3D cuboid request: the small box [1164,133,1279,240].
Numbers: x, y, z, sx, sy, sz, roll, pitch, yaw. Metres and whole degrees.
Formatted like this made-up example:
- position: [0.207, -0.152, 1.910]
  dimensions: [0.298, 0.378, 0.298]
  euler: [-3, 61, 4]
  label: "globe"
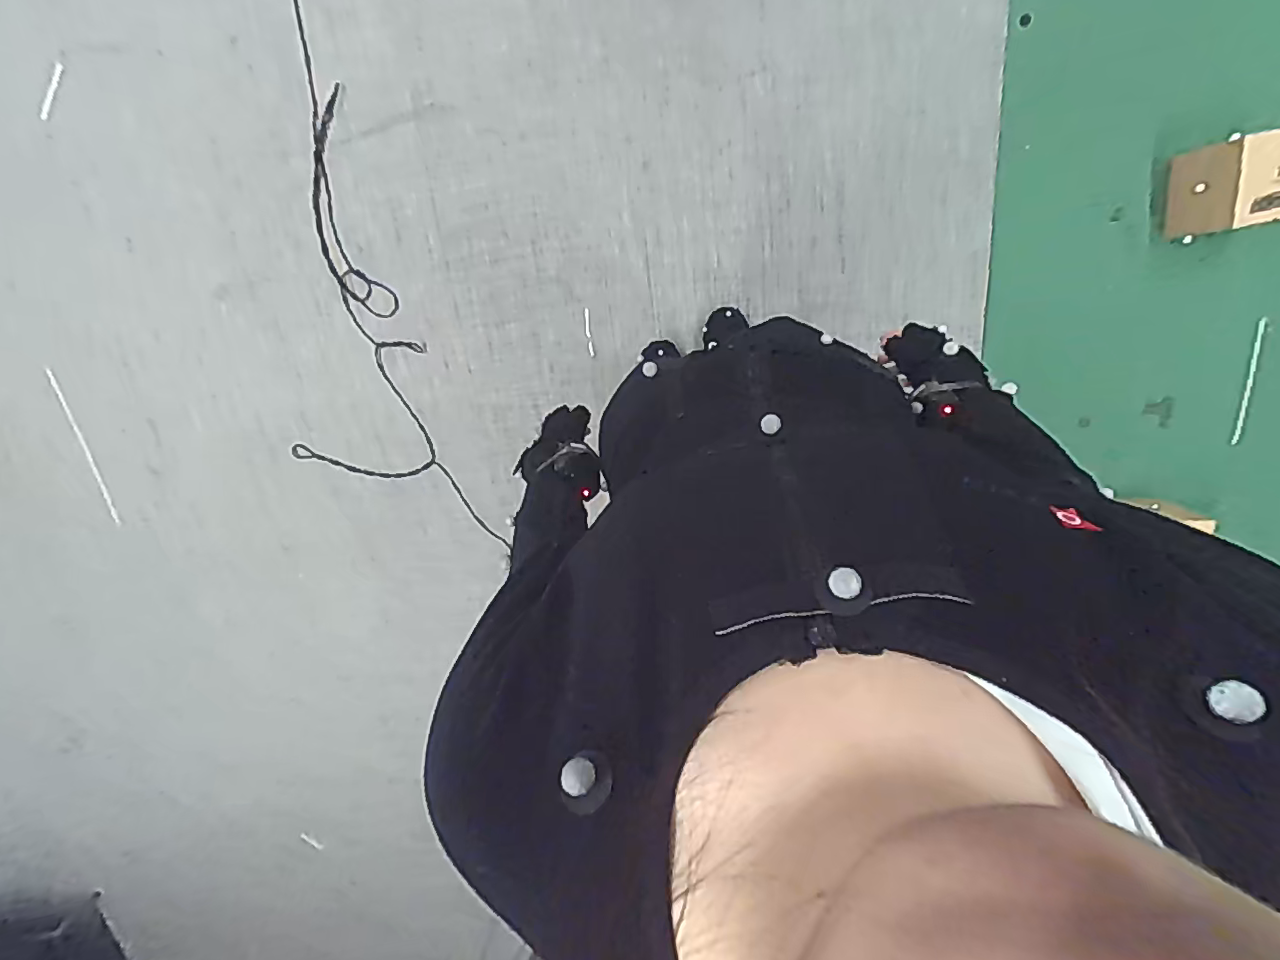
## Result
- position: [1.289, -0.626, 1.164]
  dimensions: [0.168, 0.176, 0.179]
  euler: [-8, 105, 5]
  label: "small box"
